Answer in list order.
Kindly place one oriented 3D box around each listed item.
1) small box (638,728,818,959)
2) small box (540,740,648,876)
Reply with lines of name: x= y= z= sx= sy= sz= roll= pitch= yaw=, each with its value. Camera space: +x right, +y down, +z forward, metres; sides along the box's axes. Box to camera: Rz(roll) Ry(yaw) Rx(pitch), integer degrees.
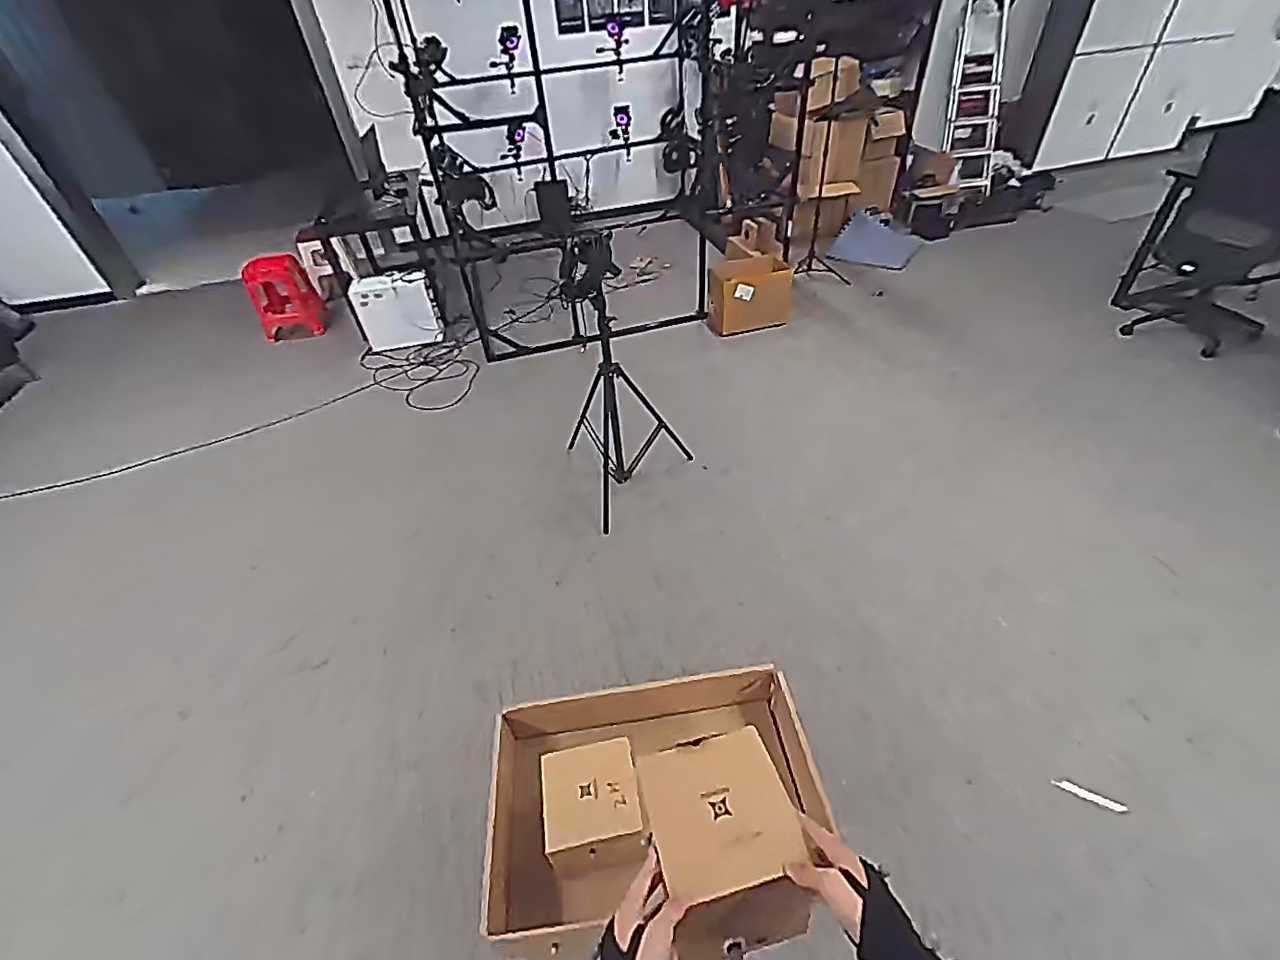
small box: x=0.097 y=0.450 z=0.668 sx=0.168 sy=0.176 sz=0.179 roll=-11 pitch=30 yaw=-9
small box: x=-0.088 y=0.632 z=1.040 sx=0.179 sy=0.176 sz=0.168 roll=-9 pitch=42 yaw=-6
